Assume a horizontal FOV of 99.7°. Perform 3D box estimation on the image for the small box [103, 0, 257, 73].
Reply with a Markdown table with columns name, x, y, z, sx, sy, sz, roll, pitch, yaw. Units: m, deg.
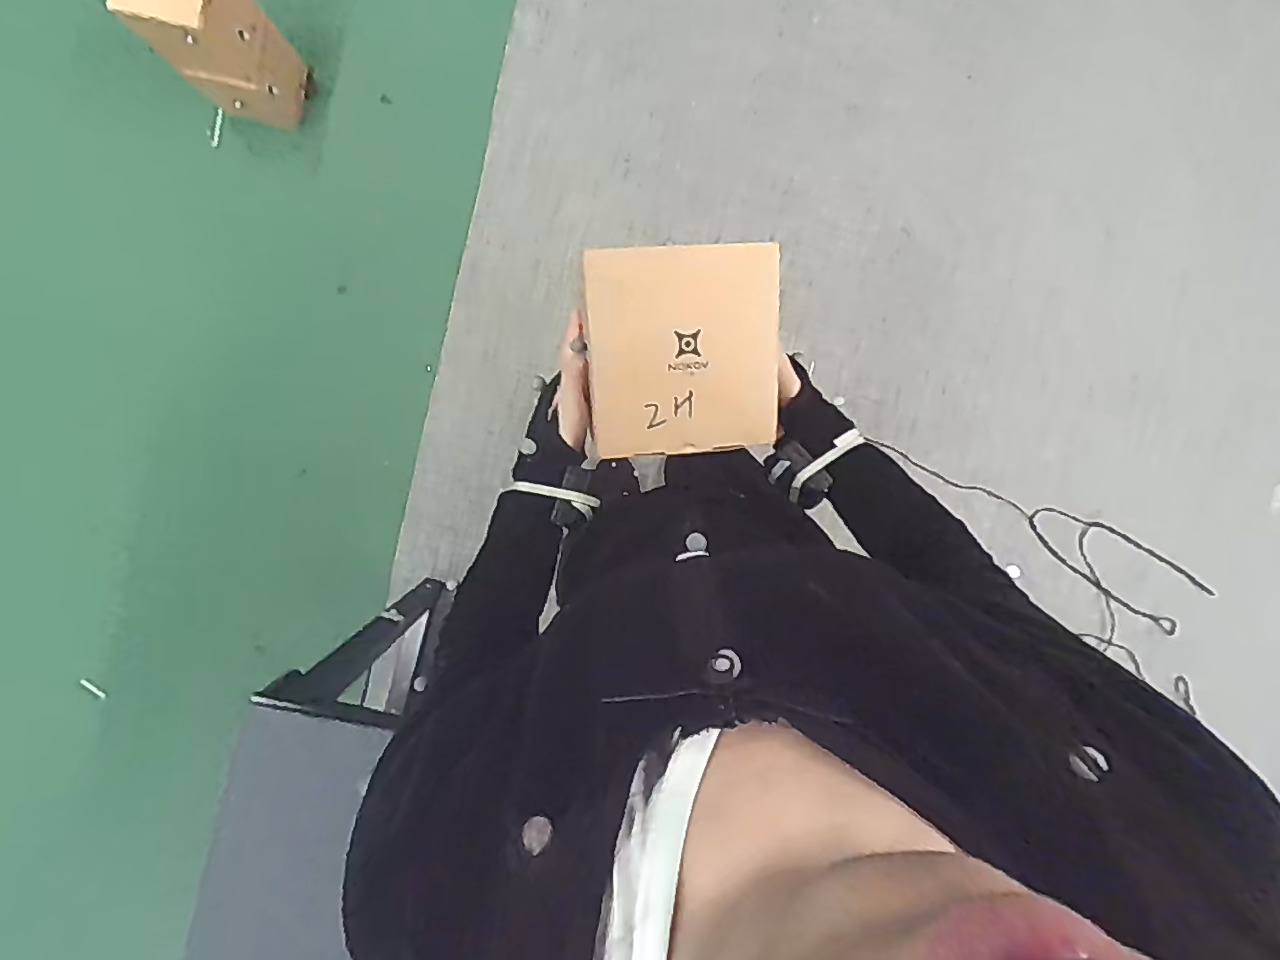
| name | x | y | z | sx | sy | sz | roll | pitch | yaw |
| --- | --- | --- | --- | --- | --- | --- | --- | --- | --- |
| small box | -0.936 | -0.981 | 1.106 | 0.179 | 0.176 | 0.168 | 9 | 93 | -5 |

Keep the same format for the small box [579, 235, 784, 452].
| name | x | y | z | sx | sy | sz | roll | pitch | yaw |
| --- | --- | --- | --- | --- | --- | --- | --- | --- | --- |
| small box | 0.030 | -0.133 | 0.534 | 0.168 | 0.176 | 0.179 | -5 | 106 | -7 |
